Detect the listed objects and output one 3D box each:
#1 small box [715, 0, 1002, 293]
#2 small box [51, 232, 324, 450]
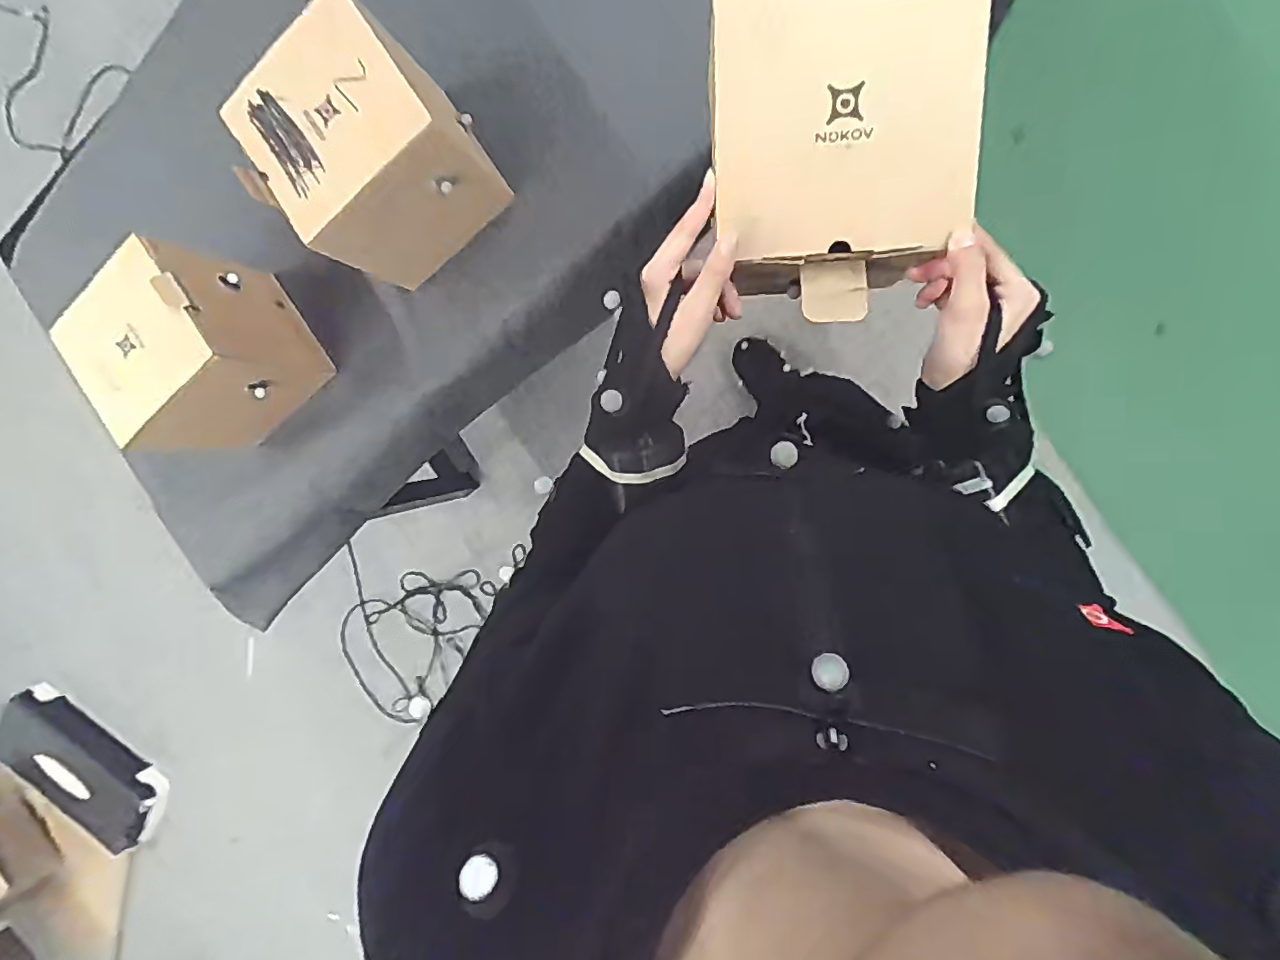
[{"bbox_3d":[0.143,-0.249,0.416,0.168,0.176,0.179,-1,103,8],"label":"small box"},{"bbox_3d":[-0.526,-0.154,0.655,0.179,0.176,0.168,-37,85,15],"label":"small box"}]
